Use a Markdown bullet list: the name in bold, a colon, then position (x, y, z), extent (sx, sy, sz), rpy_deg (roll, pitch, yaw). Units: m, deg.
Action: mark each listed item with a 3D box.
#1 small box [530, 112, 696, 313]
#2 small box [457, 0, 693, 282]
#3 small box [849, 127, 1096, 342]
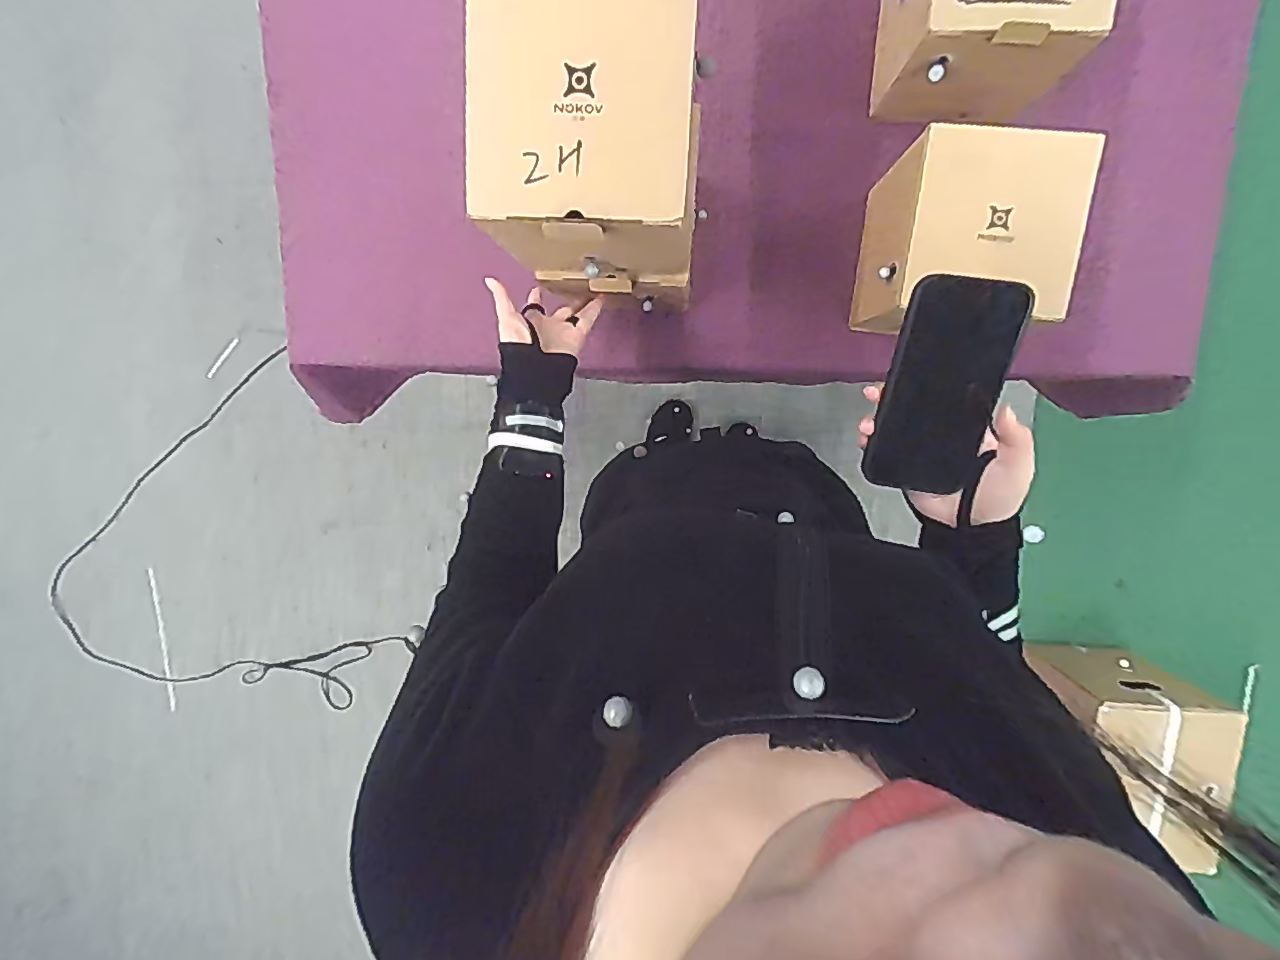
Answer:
- **small box**: position (-0.024, -0.299, 0.635), extent (0.168, 0.176, 0.179), rpy_deg (4, 98, 3)
- **small box**: position (-0.045, -0.286, 0.471), extent (0.168, 0.176, 0.179), rpy_deg (4, 98, 3)
- **small box**: position (0.353, -0.261, 0.613), extent (0.168, 0.176, 0.179), rpy_deg (6, 100, 3)
